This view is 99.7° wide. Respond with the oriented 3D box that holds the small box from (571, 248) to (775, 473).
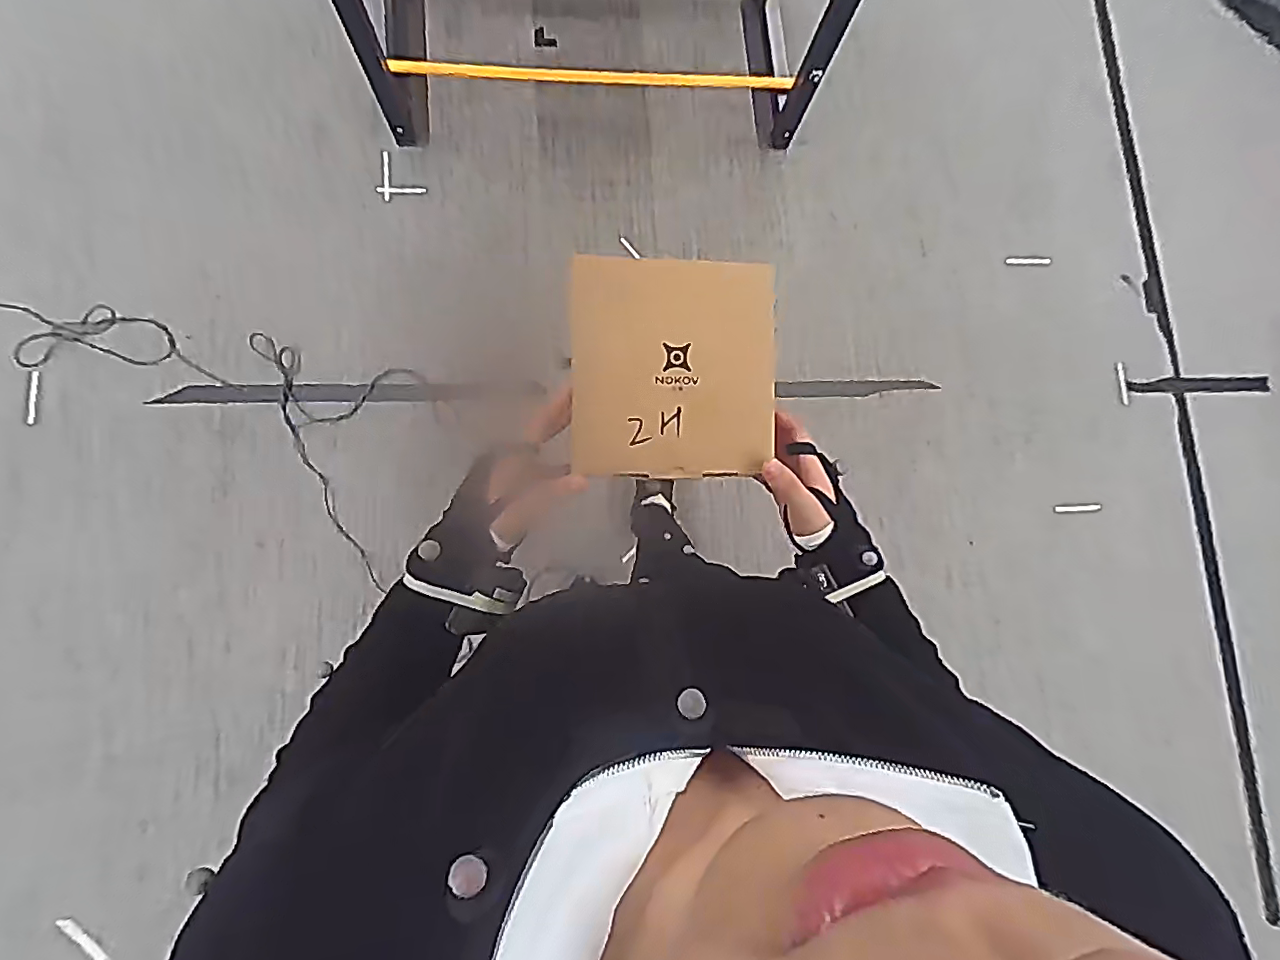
[{"bbox_3d":[0.019,-0.096,0.514,0.168,0.176,0.179,-1,90,-7],"label":"small box"}]
